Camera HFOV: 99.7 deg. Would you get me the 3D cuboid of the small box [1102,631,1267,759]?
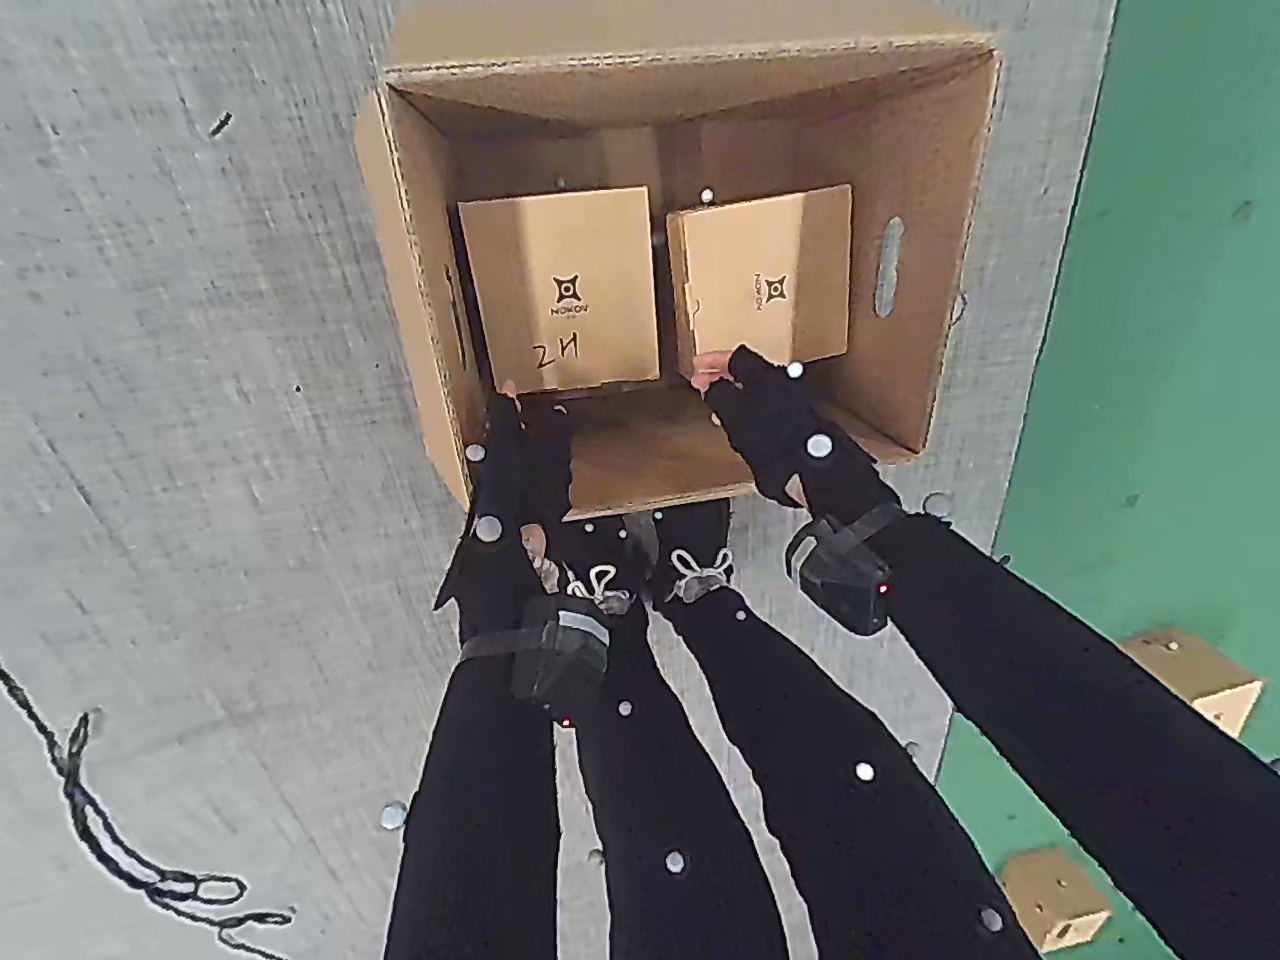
[{"bbox_3d":[1.162,0.460,1.173,0.168,0.176,0.179,-12,116,-6],"label":"small box"}]
